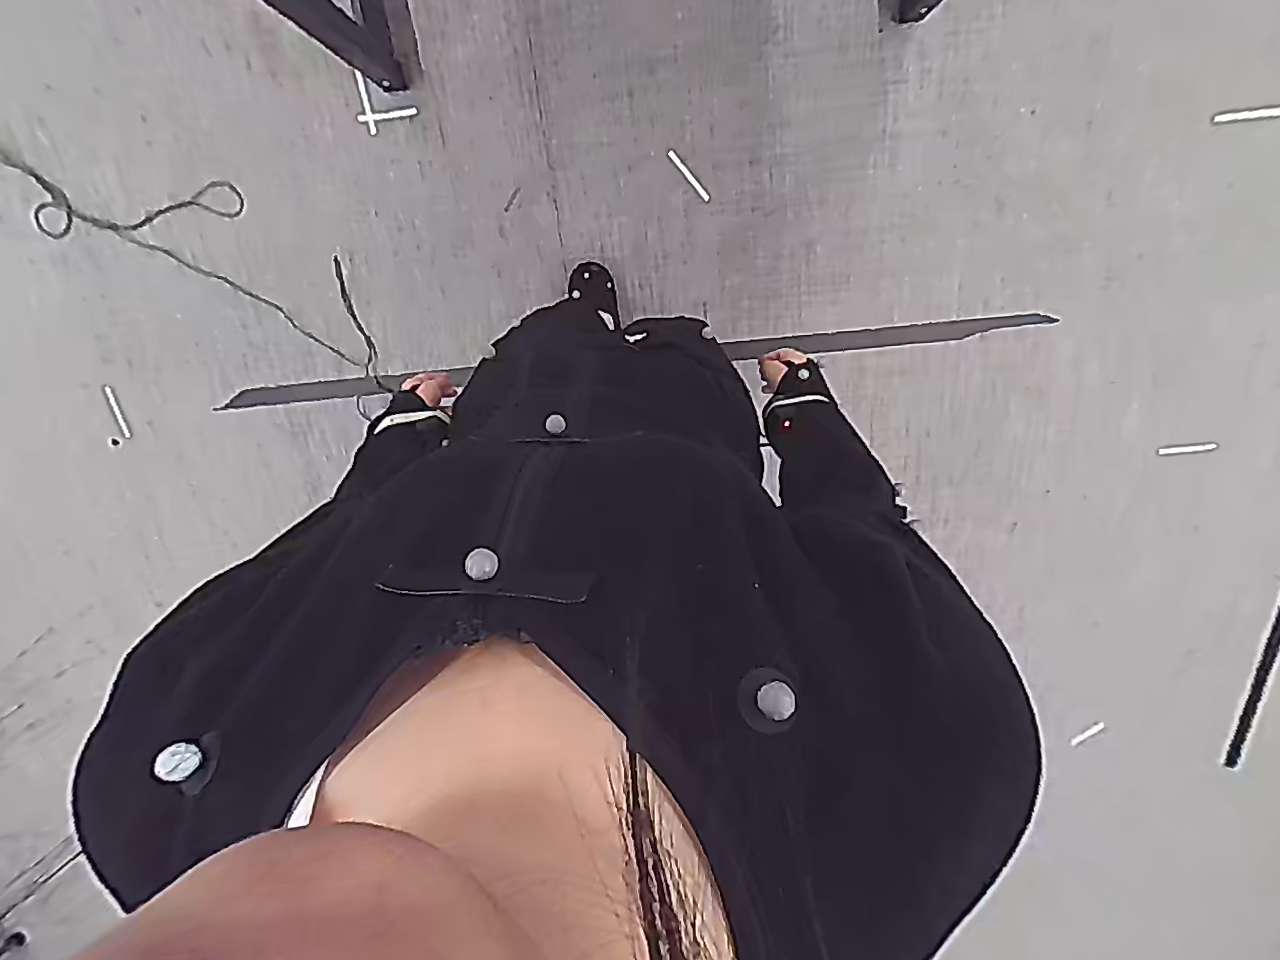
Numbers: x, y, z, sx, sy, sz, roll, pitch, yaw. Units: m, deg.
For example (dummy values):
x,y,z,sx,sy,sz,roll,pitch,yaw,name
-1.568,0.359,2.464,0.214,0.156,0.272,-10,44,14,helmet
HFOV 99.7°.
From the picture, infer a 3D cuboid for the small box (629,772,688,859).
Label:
x,y,z,sx,sy,sz,roll,pitch,yaw,name
0.062,1.116,1.807,0.168,0.176,0.179,-12,110,3,small box
